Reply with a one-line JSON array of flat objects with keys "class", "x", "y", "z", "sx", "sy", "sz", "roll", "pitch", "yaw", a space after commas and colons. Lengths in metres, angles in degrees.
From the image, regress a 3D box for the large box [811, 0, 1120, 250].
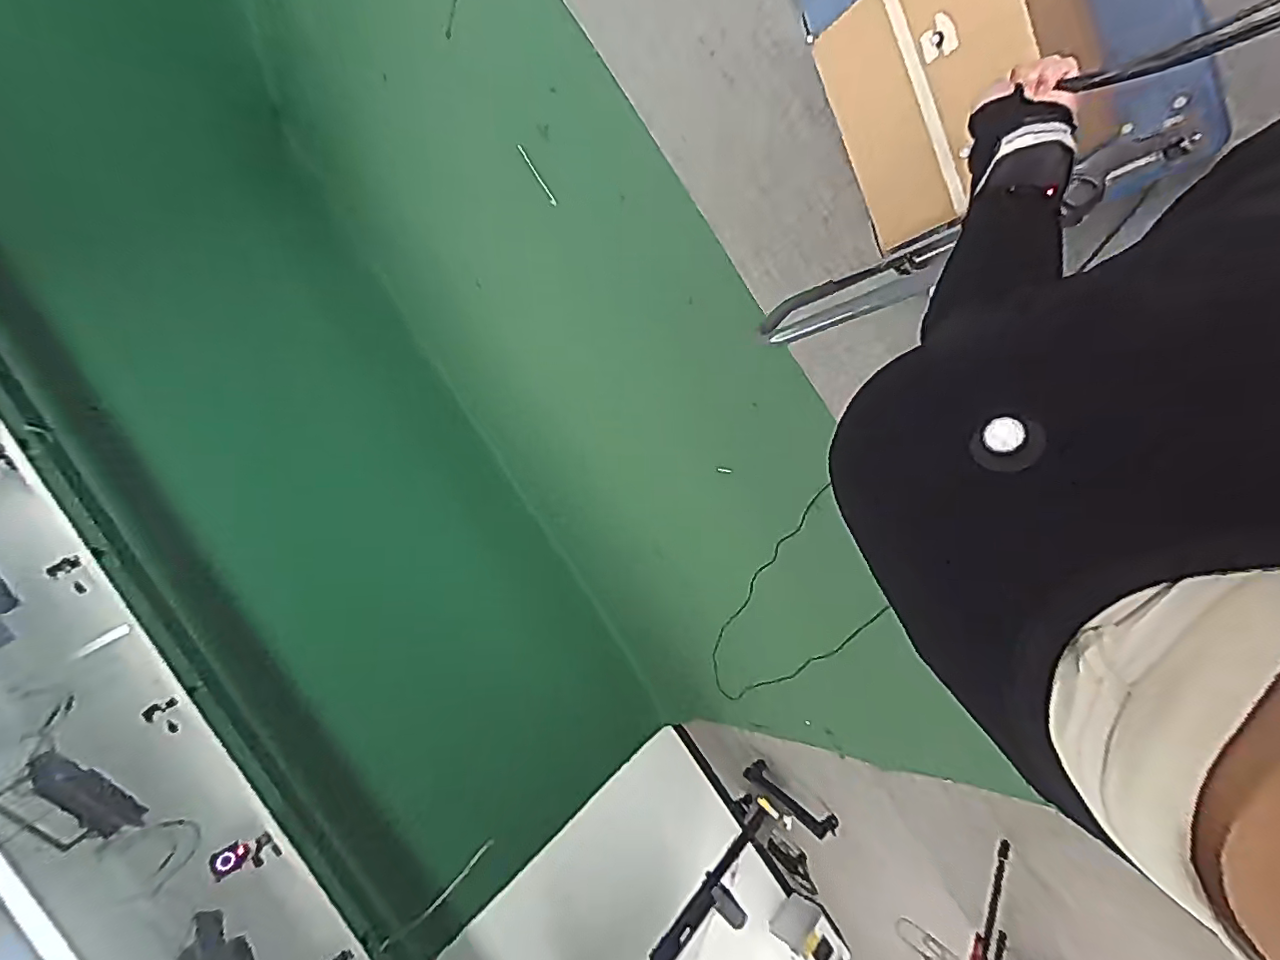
[{"class": "large box", "x": 0.594, "y": -0.711, "z": 0.991, "sx": 0.320, "sy": 0.320, "sz": 0.408, "roll": -10, "pitch": 109, "yaw": 56}]
